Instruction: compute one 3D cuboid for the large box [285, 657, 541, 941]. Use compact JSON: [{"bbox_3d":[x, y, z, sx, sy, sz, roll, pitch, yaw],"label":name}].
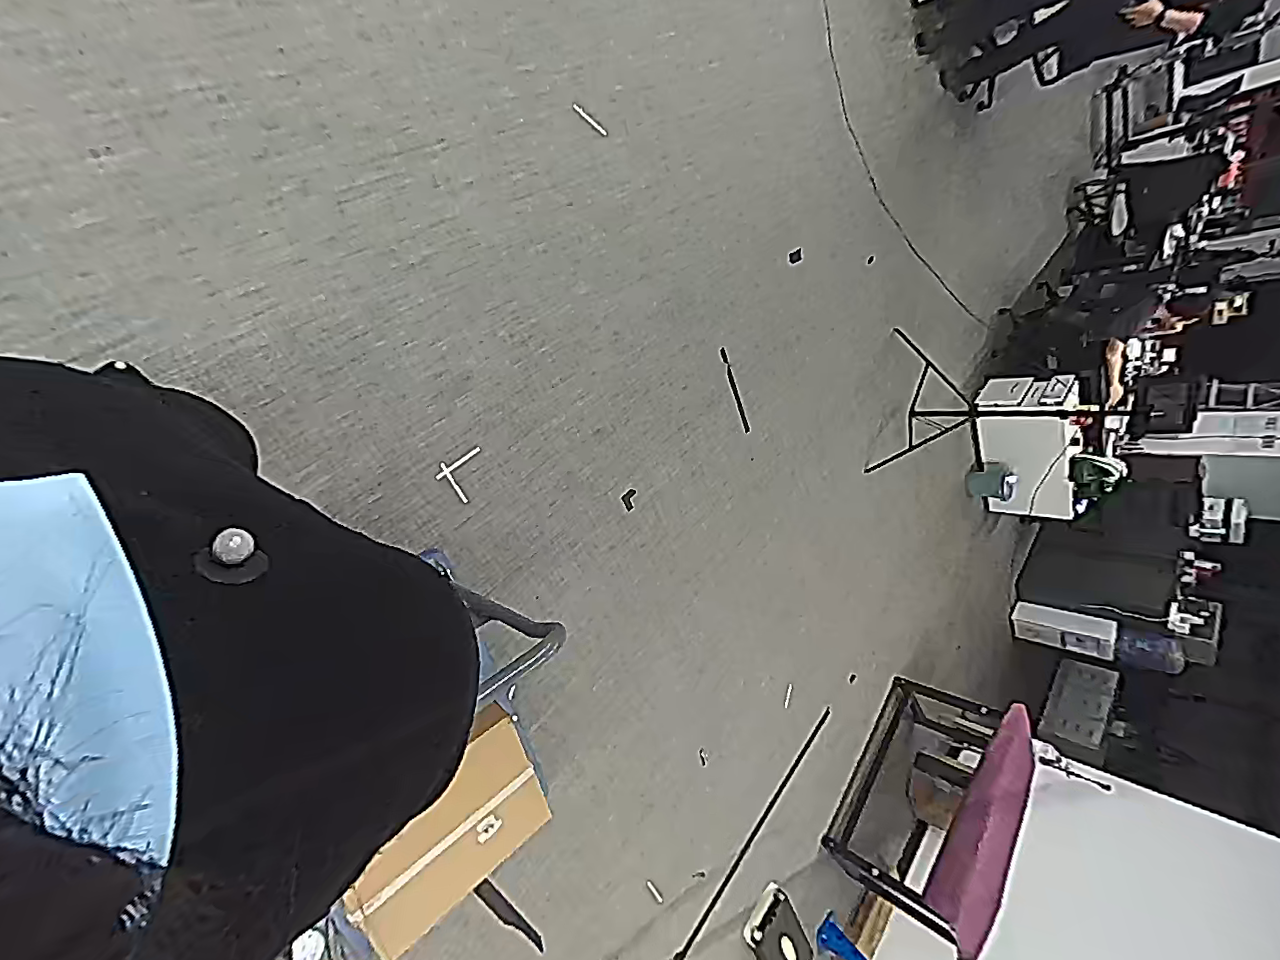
[{"bbox_3d":[-0.513,0.688,1.247,0.408,0.320,0.320,-30,114,-37],"label":"large box"}]
